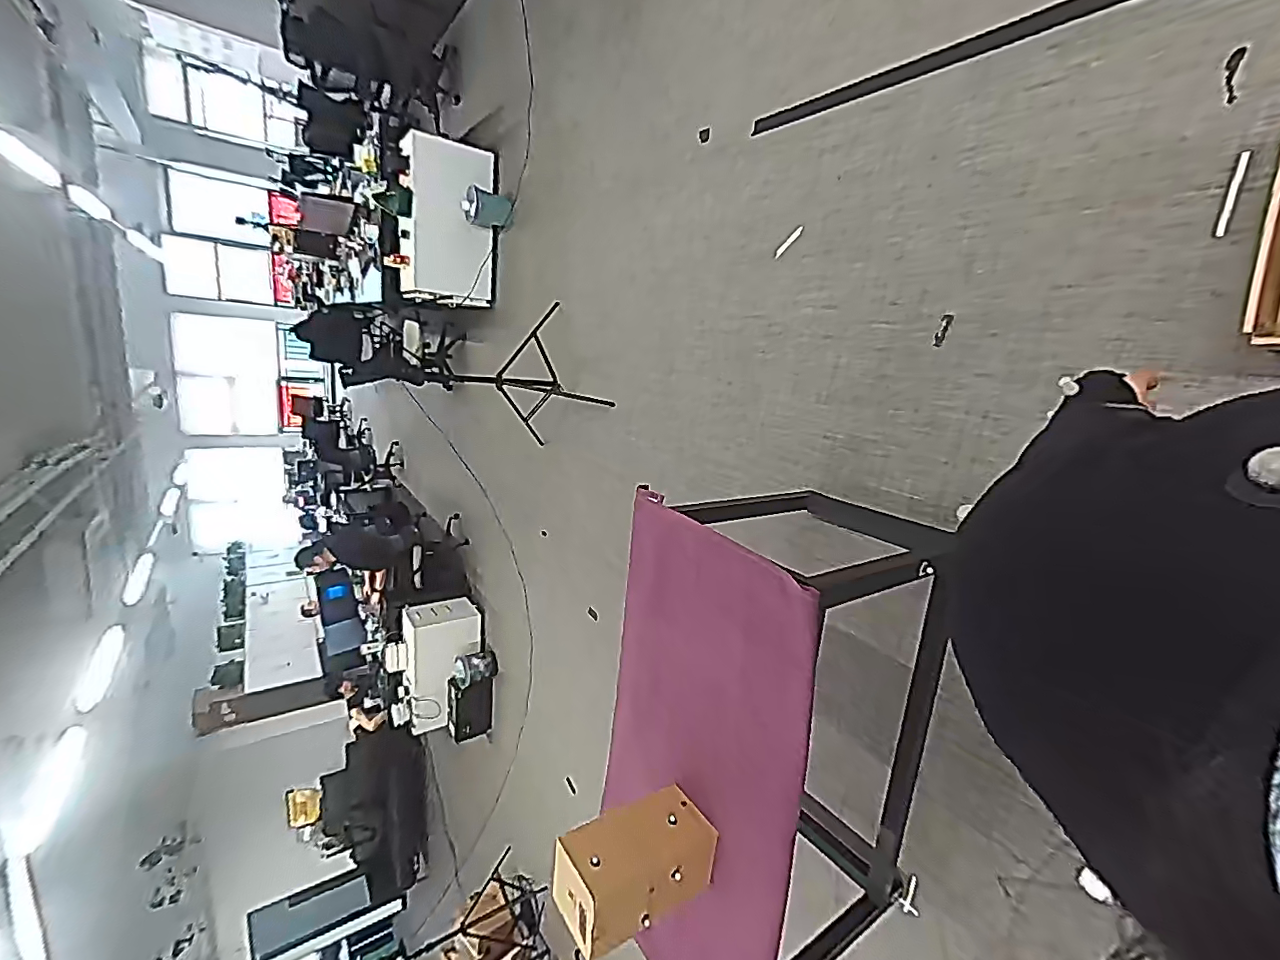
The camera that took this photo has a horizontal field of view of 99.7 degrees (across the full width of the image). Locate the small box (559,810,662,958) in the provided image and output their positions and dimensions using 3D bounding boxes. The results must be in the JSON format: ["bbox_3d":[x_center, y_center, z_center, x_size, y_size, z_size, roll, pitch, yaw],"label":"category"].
[{"bbox_3d":[-0.067,0.886,1.210,0.179,0.176,0.168,22,111,53],"label":"small box"}]

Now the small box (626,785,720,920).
[{"bbox_3d":[0.072,0.878,1.297,0.168,0.176,0.179,25,114,52],"label":"small box"}]
